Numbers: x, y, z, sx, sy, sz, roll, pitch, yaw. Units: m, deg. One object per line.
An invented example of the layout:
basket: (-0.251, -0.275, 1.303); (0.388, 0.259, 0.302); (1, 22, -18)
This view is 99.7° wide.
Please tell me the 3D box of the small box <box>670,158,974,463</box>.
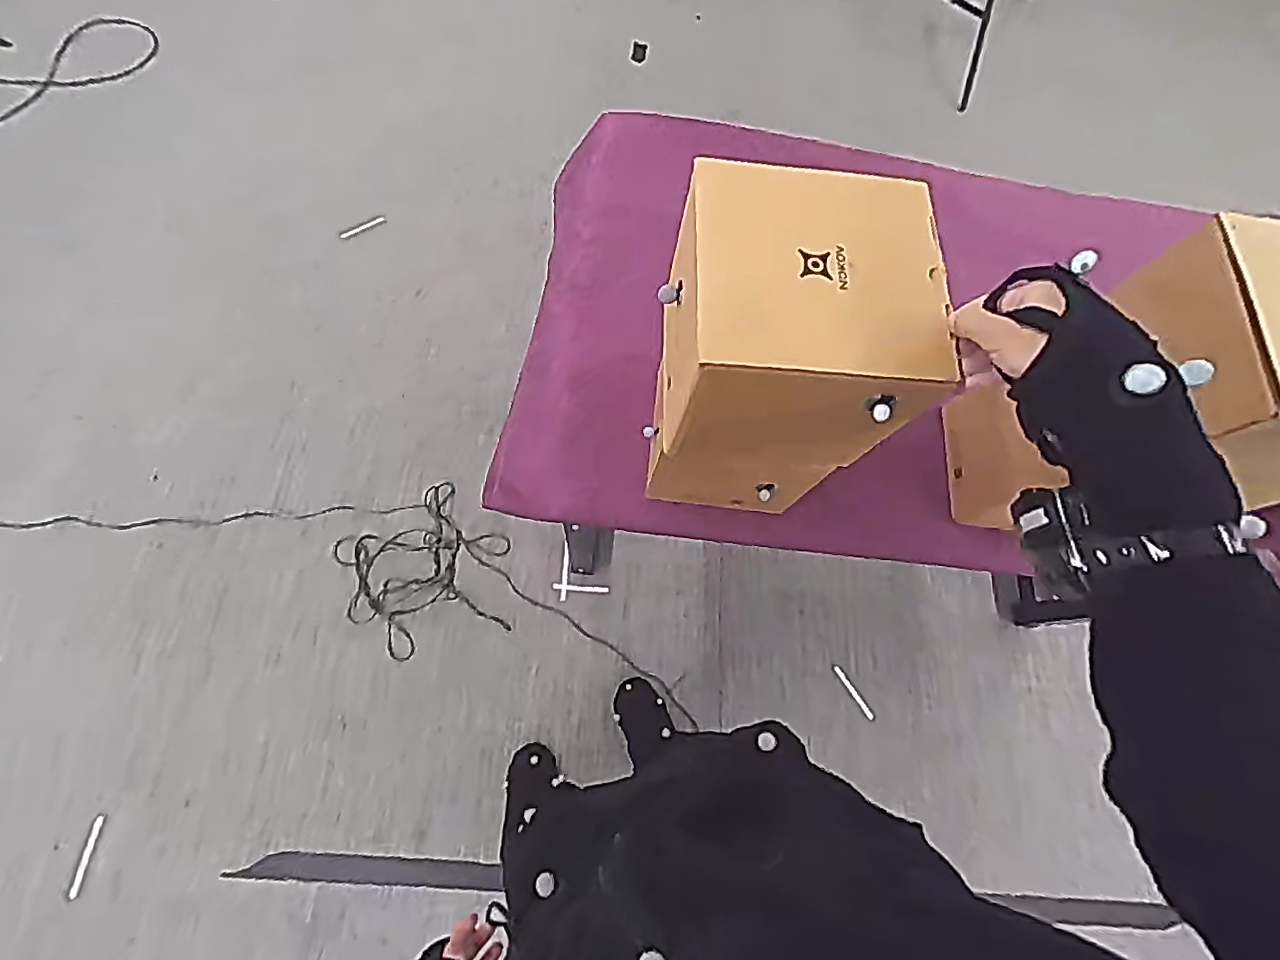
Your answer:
small box: (0.121, -0.119, 0.437); (0.179, 0.176, 0.168); (3, 72, -6)

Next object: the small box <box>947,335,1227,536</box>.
small box: (0.488, -0.038, 0.615); (0.179, 0.176, 0.168); (7, 71, -3)

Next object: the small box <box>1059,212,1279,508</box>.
small box: (0.505, -0.085, 0.458); (0.168, 0.176, 0.179); (7, 70, -2)

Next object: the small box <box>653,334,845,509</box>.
small box: (0.109, -0.076, 0.594); (0.168, 0.176, 0.179); (7, 70, -4)
